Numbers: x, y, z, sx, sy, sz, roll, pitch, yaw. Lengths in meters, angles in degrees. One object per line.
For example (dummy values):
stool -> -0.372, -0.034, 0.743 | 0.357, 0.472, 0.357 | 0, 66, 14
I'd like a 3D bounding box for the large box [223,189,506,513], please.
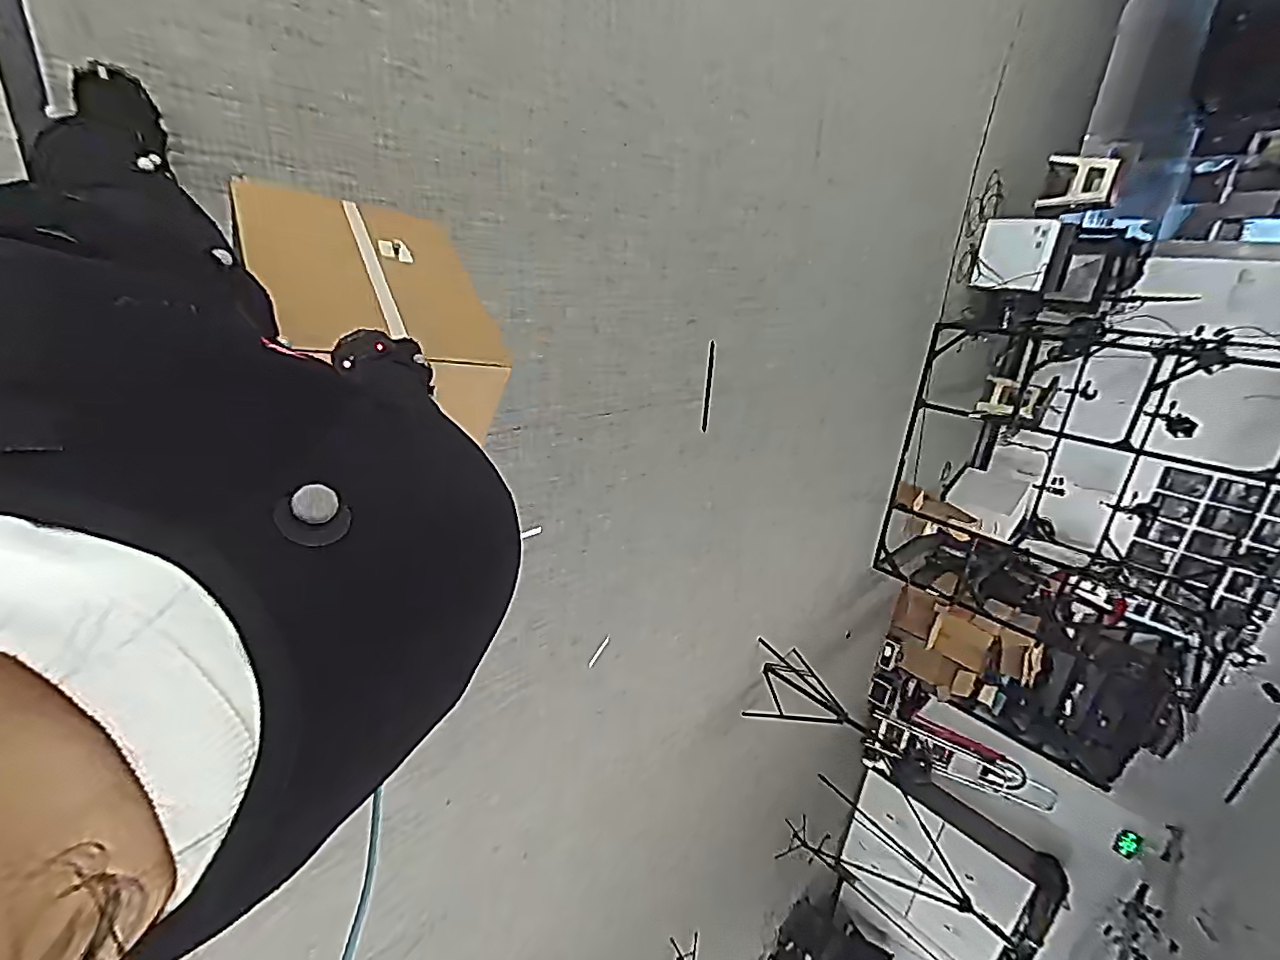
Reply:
large box -> -0.476, -0.203, 0.900 | 0.320, 0.408, 0.320 | -5, 140, -41
